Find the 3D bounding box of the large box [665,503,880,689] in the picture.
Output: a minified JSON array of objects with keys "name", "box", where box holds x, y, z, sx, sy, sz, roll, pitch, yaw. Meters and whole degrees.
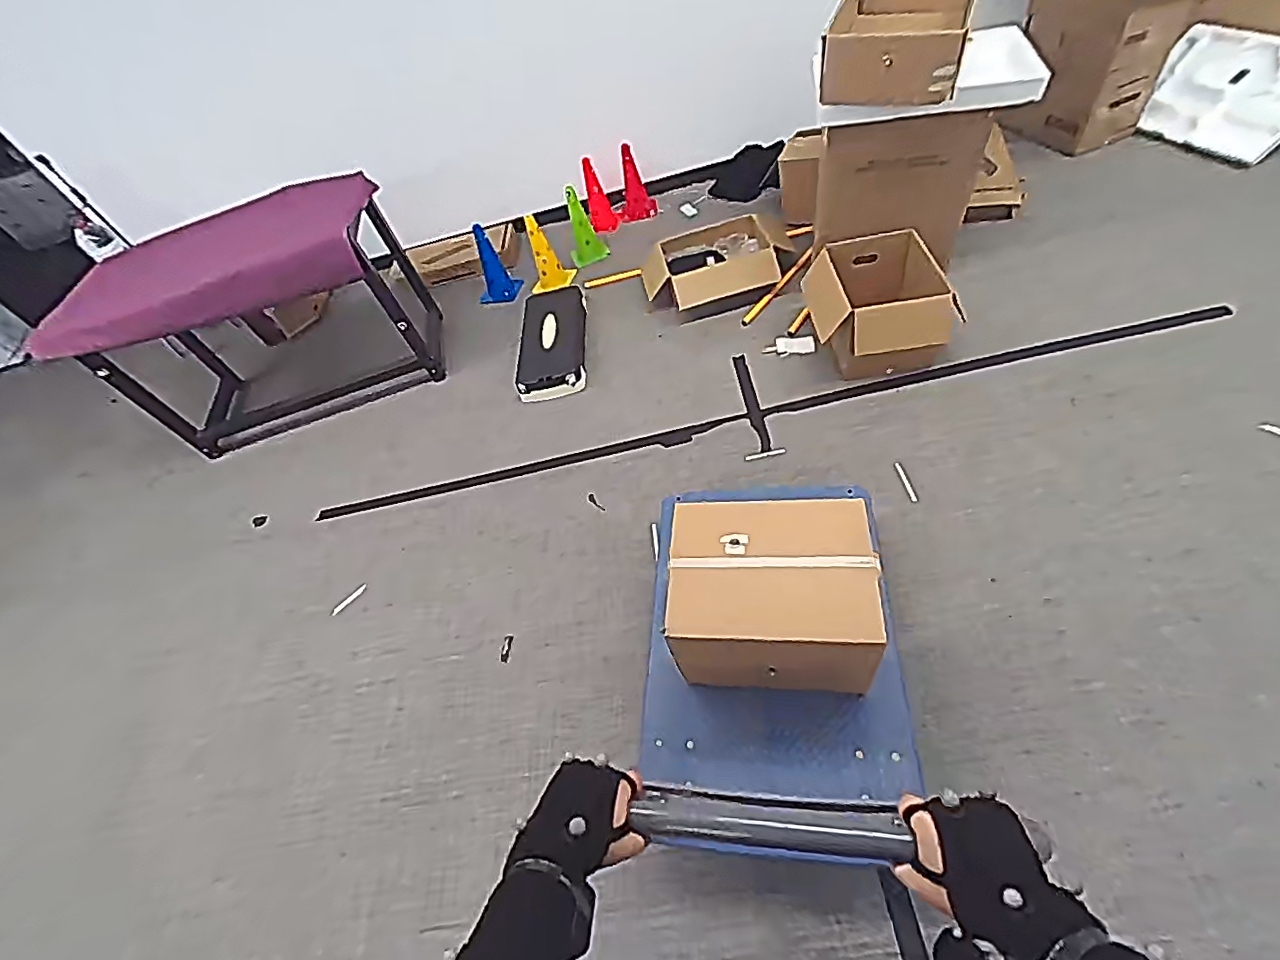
[{"name":"large box","box":[0.292,0.271,1.223,0.408,0.320,0.320,-3,52,14]}]
